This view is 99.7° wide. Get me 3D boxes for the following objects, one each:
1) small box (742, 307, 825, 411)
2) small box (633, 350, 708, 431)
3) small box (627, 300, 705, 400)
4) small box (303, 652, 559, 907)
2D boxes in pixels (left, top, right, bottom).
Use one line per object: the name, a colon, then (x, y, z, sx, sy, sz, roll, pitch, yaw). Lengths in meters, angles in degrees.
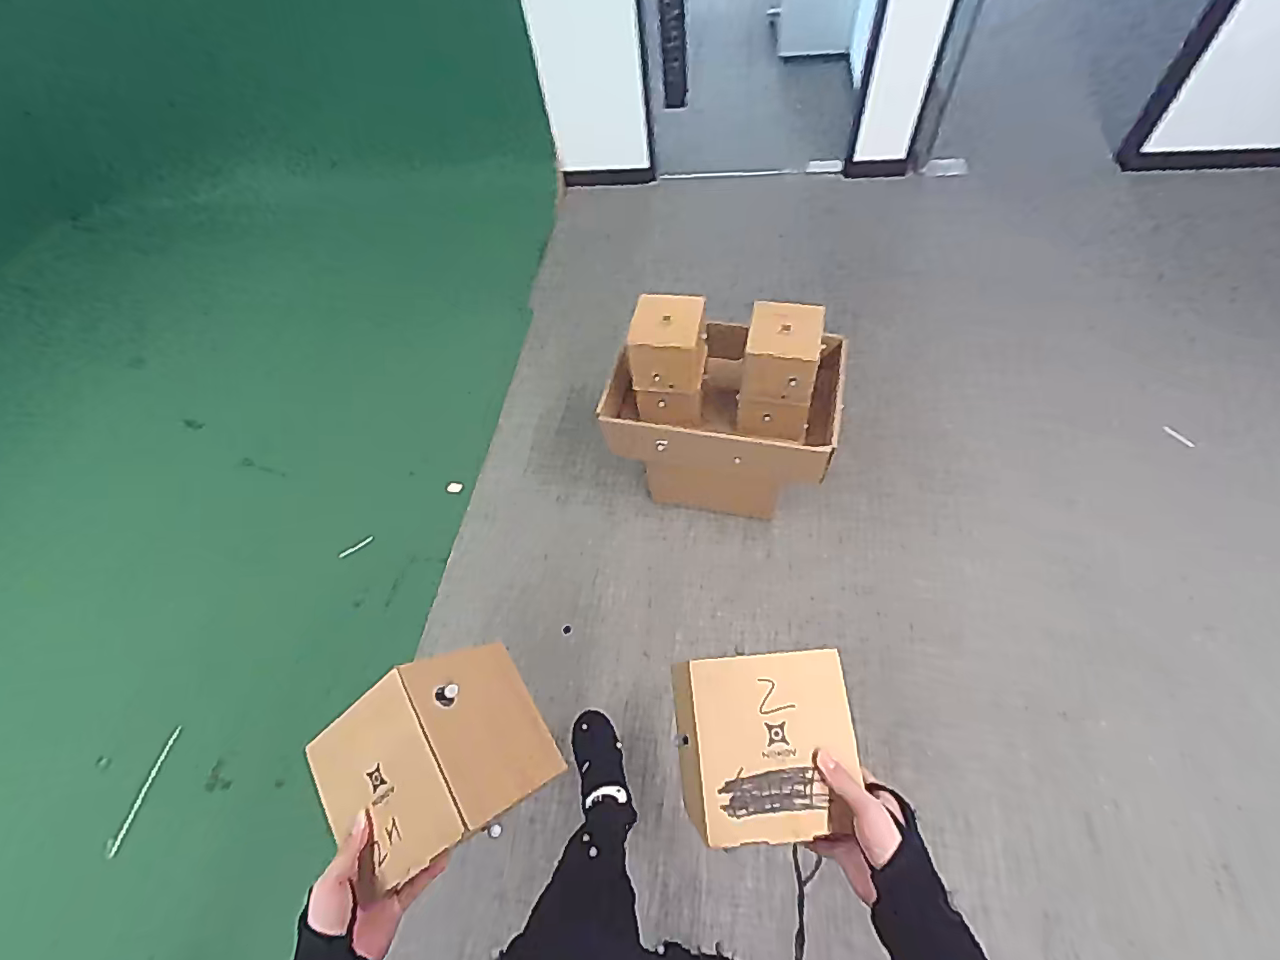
small box: (0.344, -0.290, 1.316, 0.168, 0.176, 0.179, 10, 59, 12)
small box: (0.092, -0.253, 1.516, 0.179, 0.176, 0.168, 7, 59, 12)
small box: (0.069, -0.329, 1.376, 0.168, 0.176, 0.179, 7, 59, 10)
small box: (-0.225, 0.310, 0.604, 0.168, 0.176, 0.179, -40, 68, 15)
